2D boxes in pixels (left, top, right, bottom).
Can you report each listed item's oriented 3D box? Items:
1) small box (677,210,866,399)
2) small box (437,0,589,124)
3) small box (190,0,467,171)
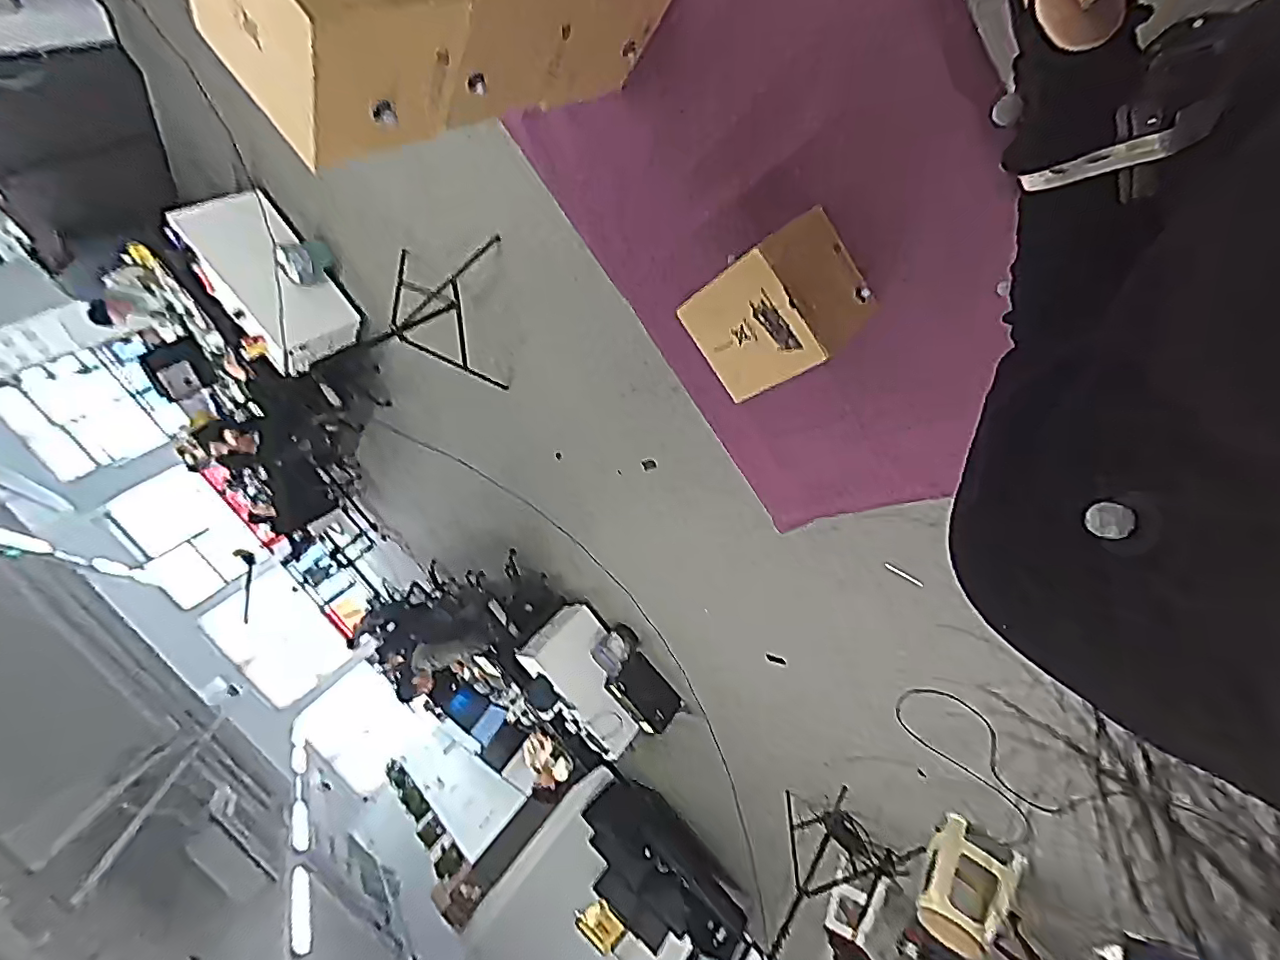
[{"bbox_3d":[0.193,-0.247,0.770,0.168,0.176,0.179,54,148,-10],"label":"small box"},{"bbox_3d":[-0.189,-0.543,0.596,0.179,0.176,0.168,51,148,-6],"label":"small box"},{"bbox_3d":[-0.294,-0.447,0.516,0.179,0.176,0.168,51,148,-6],"label":"small box"}]
